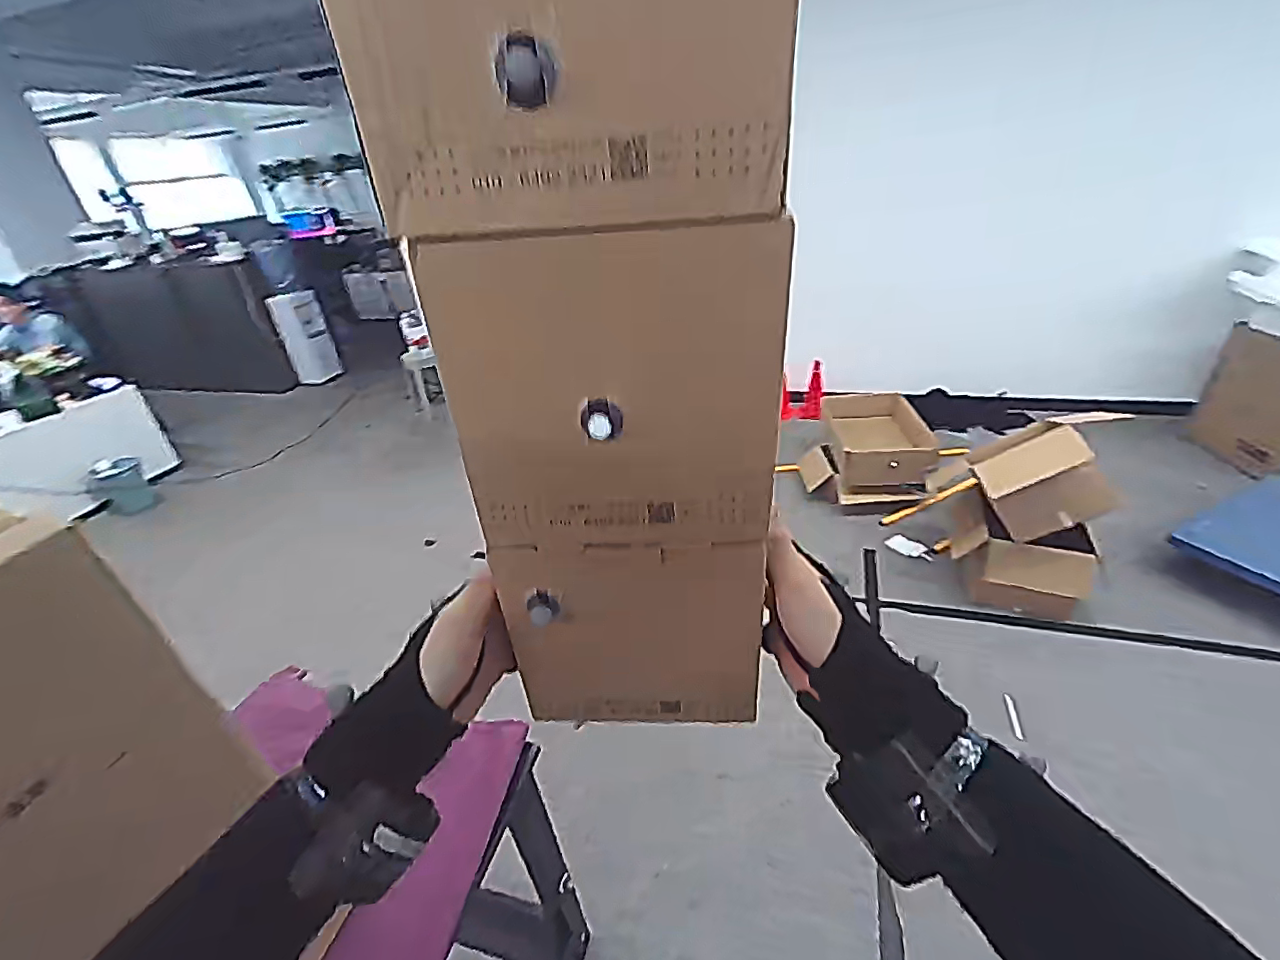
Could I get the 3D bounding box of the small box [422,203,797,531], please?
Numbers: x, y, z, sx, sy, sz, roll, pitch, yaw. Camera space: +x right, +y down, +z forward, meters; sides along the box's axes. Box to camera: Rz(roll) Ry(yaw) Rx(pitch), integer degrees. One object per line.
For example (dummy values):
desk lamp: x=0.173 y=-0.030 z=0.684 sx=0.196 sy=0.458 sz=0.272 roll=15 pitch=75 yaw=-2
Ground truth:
small box: x=-0.005 y=-0.079 z=0.339 sx=0.168 sy=0.176 sz=0.179 roll=-1 pitch=31 yaw=4

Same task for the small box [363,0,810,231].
small box: x=-0.020 y=-0.218 z=0.254 sx=0.168 sy=0.176 sz=0.179 roll=-2 pitch=32 yaw=3
